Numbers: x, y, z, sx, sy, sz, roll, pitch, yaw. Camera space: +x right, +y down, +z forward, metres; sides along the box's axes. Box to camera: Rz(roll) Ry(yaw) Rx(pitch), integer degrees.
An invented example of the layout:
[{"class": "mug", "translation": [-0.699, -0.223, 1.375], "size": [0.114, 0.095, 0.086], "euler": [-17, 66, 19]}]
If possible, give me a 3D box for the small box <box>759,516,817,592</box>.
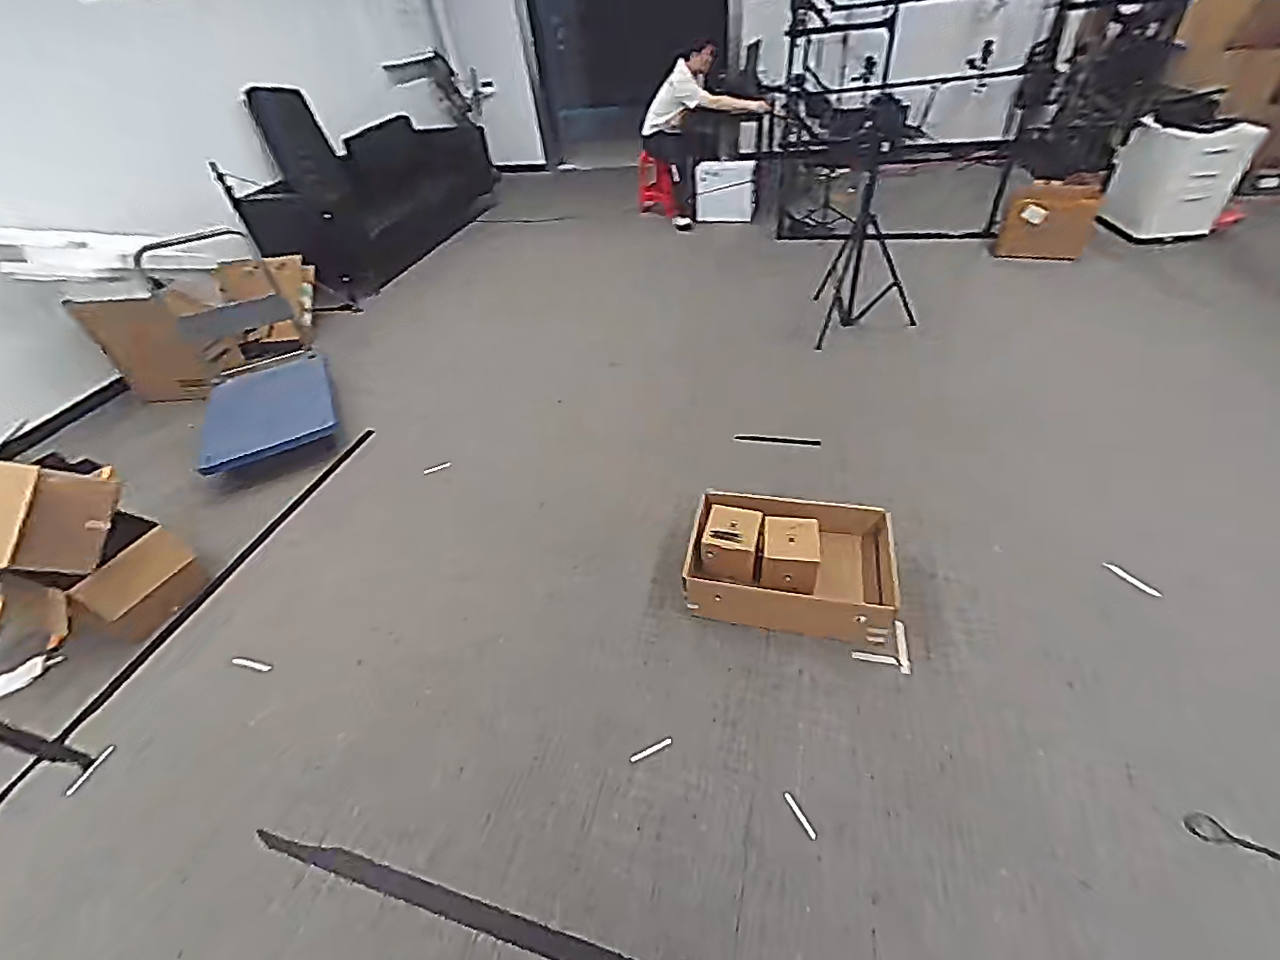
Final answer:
[{"class": "small box", "translation": [0.474, 0.239, 1.740], "size": [0.168, 0.176, 0.179], "euler": [3, 43, 11]}]
